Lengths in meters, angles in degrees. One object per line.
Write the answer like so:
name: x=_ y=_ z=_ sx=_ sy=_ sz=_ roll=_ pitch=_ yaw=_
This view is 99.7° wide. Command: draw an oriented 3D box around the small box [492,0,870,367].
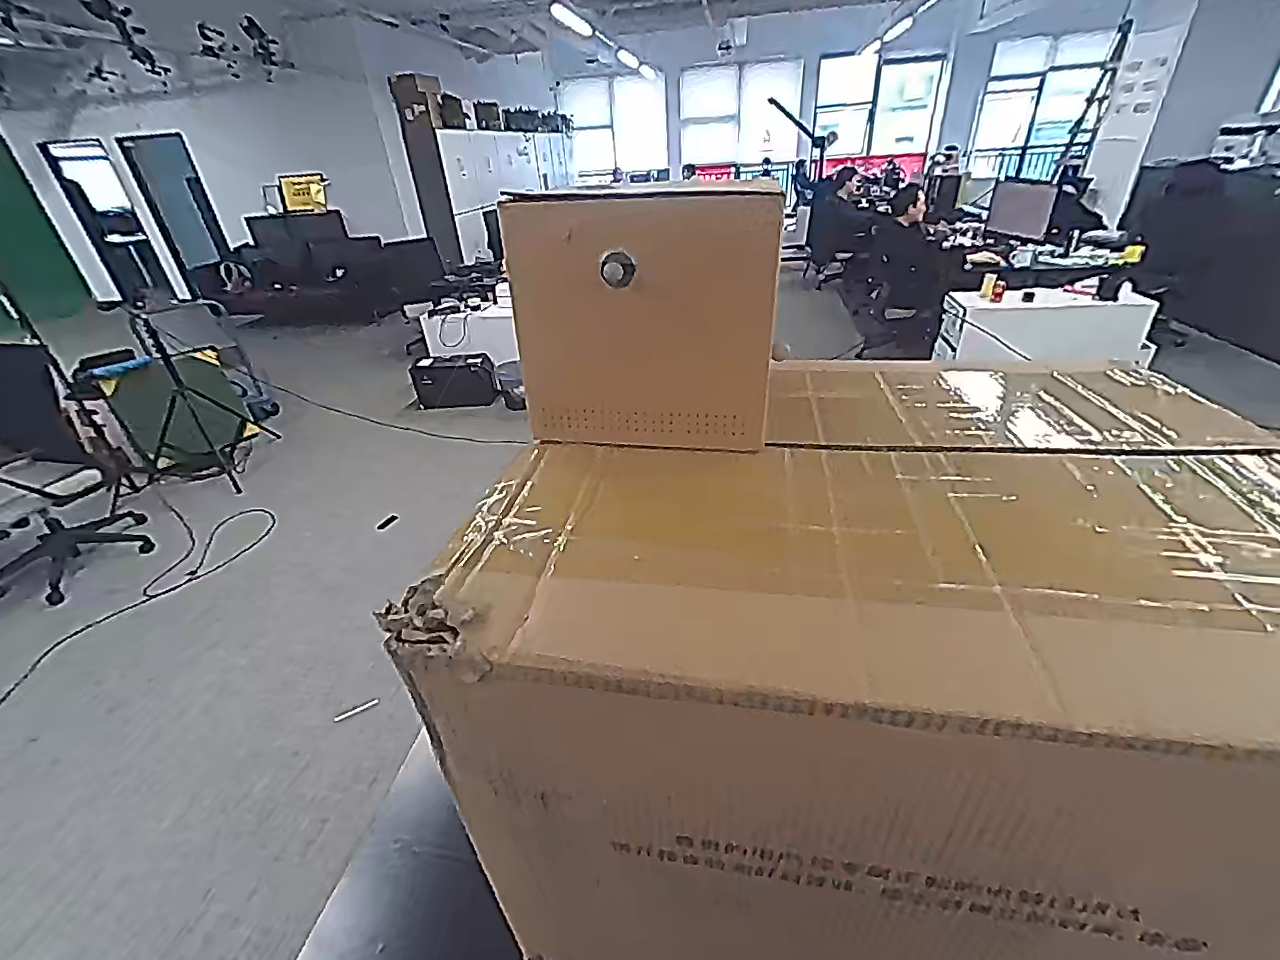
small box: x=0.031 y=-0.177 z=0.347 sx=0.179 sy=0.176 sz=0.168 roll=4 pitch=31 yaw=10
